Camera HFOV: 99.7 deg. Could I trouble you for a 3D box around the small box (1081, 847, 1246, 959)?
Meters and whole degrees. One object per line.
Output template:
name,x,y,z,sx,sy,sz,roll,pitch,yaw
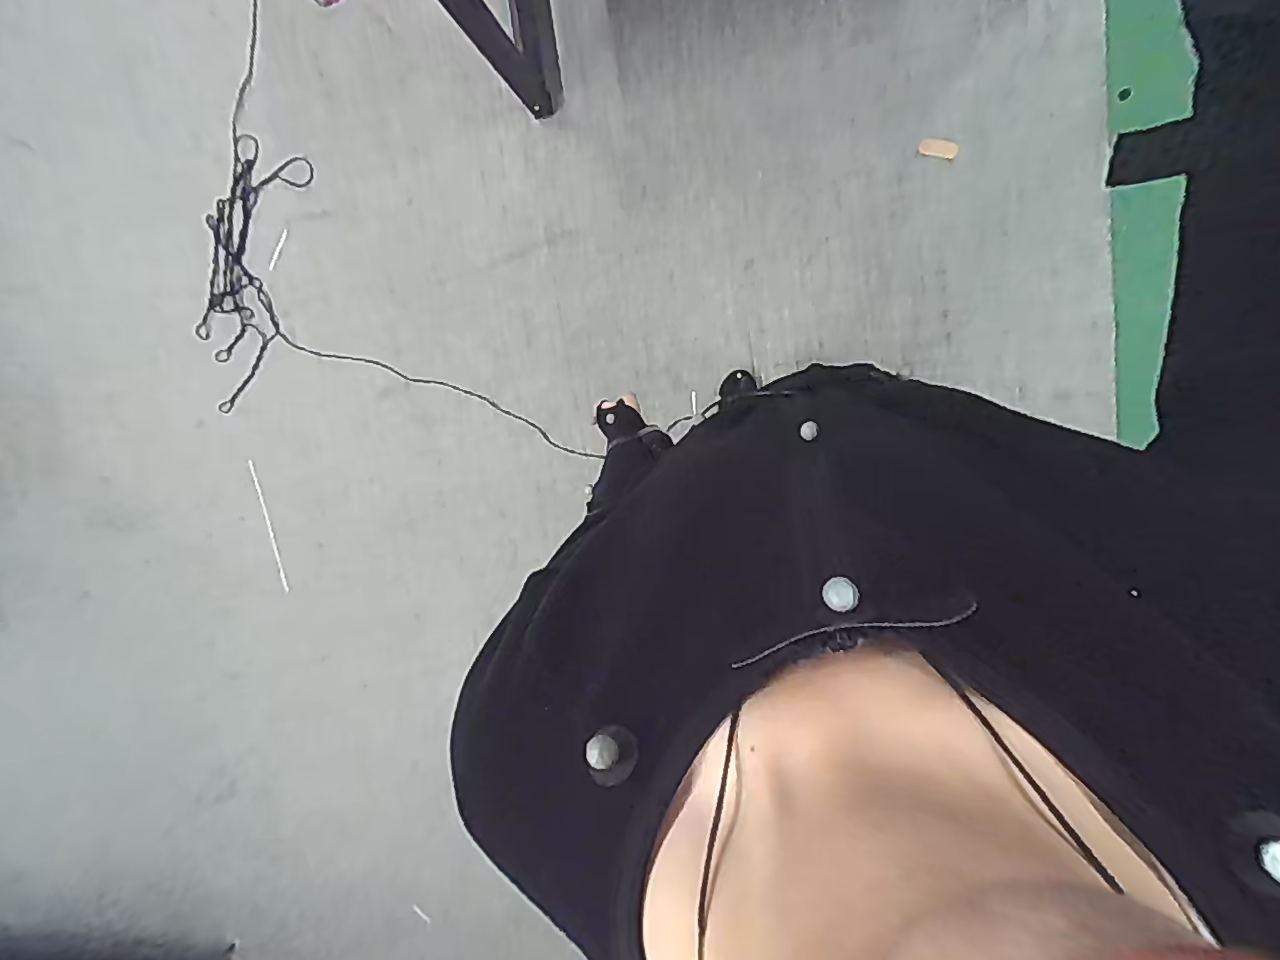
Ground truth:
small box,1.025,0.858,1.061,0.179,0.176,0.168,-18,93,16

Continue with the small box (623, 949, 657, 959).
small box,0.009,1.194,1.180,0.179,0.176,0.168,25,104,10
